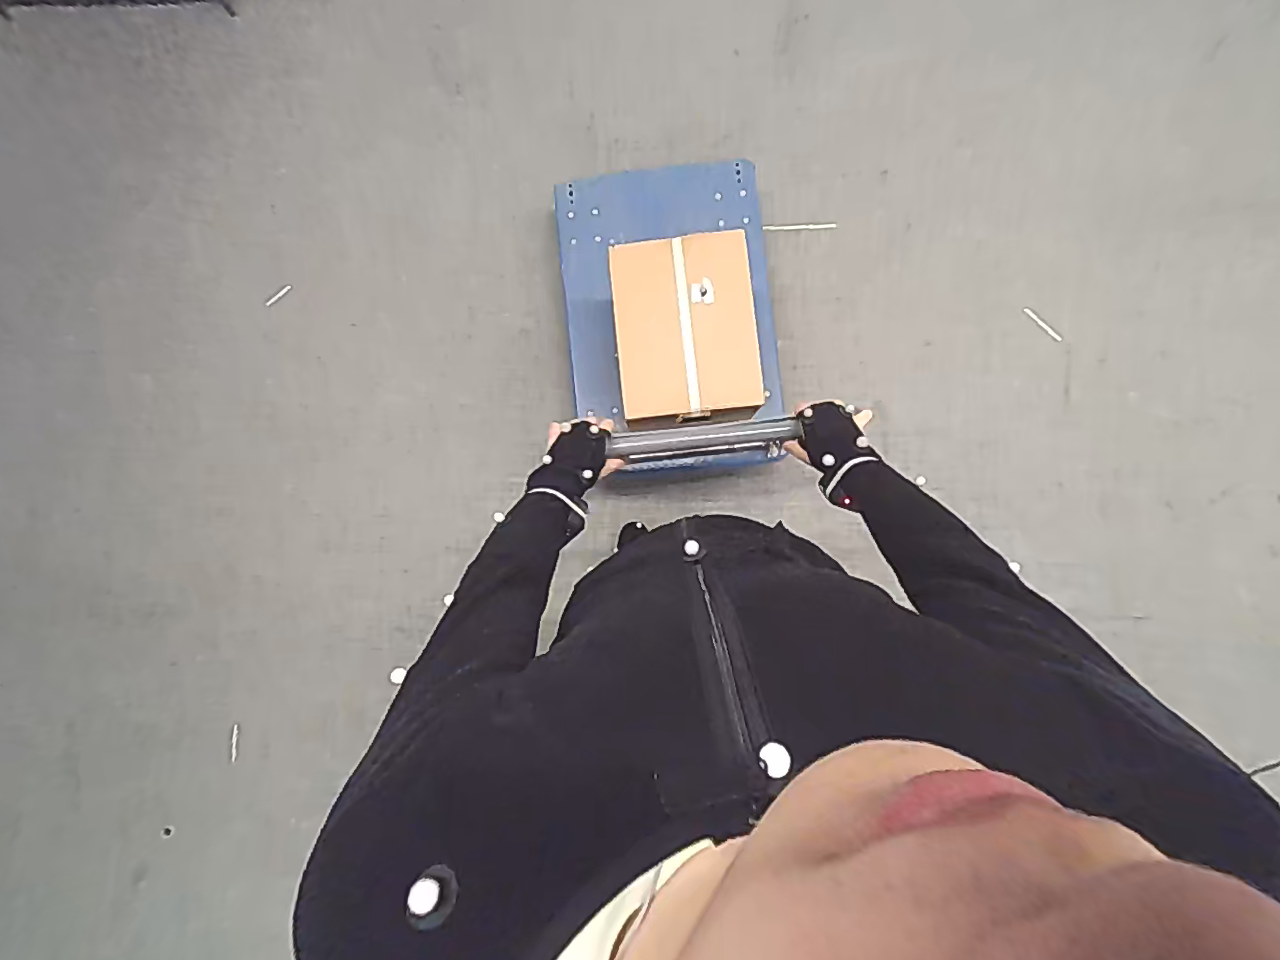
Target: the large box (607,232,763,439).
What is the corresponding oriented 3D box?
[{"bbox_3d":[0.107,-0.337,1.363,0.320,0.320,0.408,-6,85,2],"label":"large box"}]
